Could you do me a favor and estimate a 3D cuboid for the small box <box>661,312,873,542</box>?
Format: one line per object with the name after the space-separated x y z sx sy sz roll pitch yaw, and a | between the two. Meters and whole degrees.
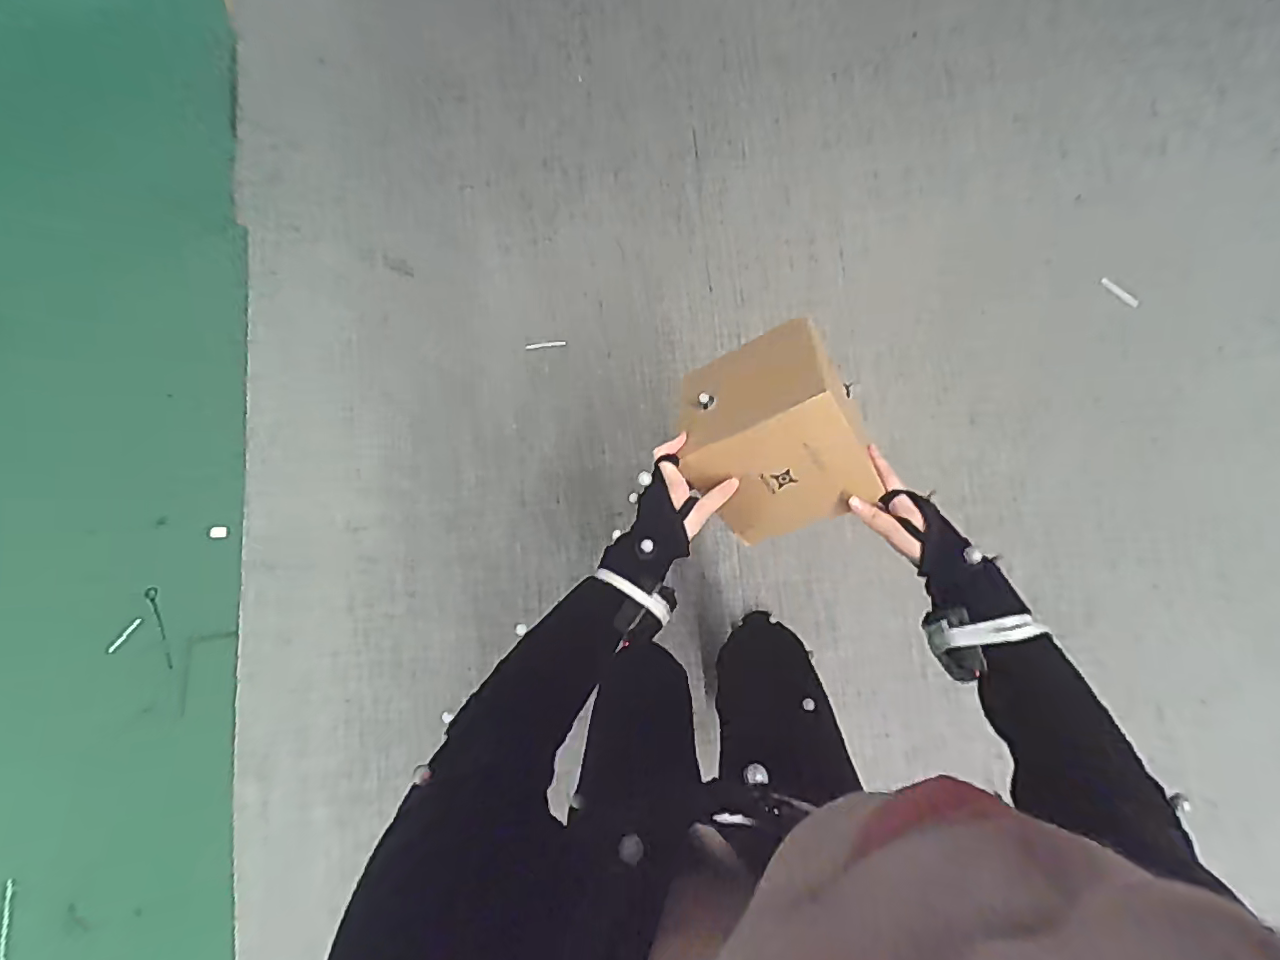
0.146 -0.060 0.634 0.179 0.168 0.176 -24 36 28 | small box
